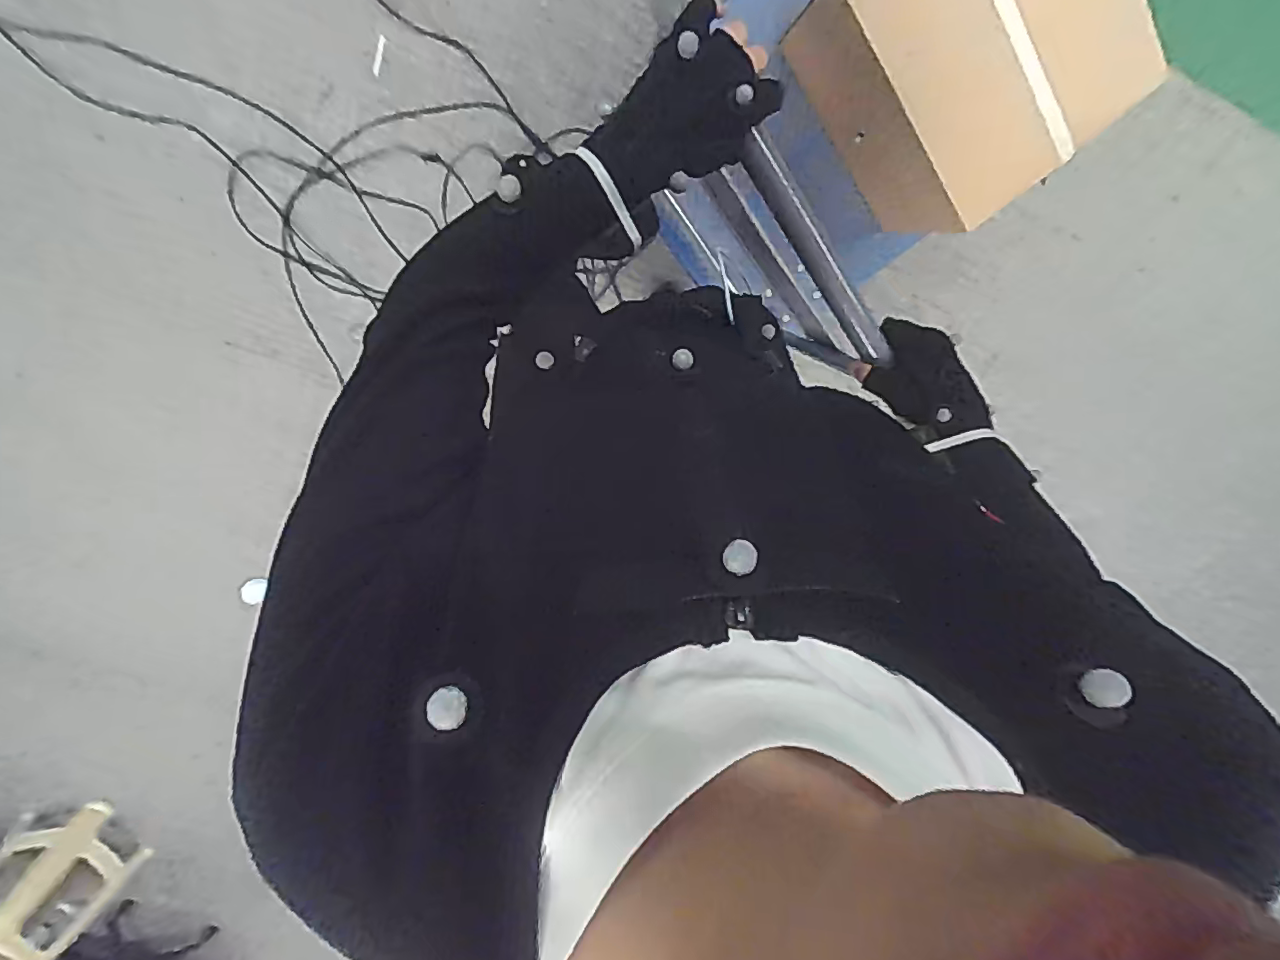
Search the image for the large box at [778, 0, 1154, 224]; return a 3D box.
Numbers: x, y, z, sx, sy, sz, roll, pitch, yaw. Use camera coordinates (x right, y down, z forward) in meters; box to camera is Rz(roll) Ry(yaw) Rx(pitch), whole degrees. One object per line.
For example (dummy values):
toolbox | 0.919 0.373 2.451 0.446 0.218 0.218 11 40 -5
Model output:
large box | 0.492 -0.690 0.881 0.320 0.320 0.408 -38 111 15
